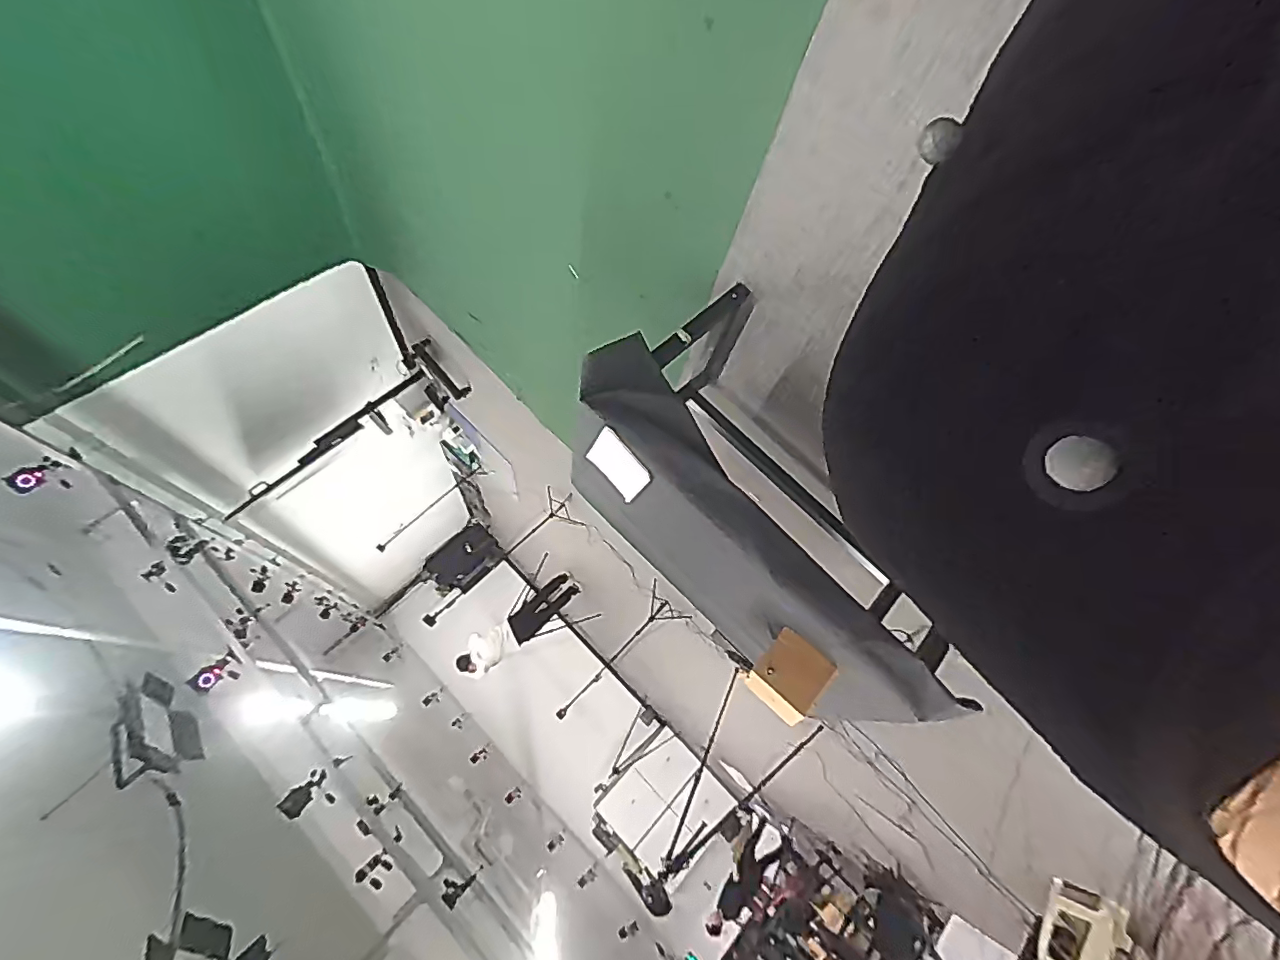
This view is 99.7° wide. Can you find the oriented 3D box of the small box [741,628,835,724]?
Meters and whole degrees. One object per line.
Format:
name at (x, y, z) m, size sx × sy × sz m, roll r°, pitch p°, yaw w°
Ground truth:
small box at (0.414, 0.547, 1.516) m, size 0.179 × 0.176 × 0.168 m, roll 39°, pitch 156°, yaw 22°
